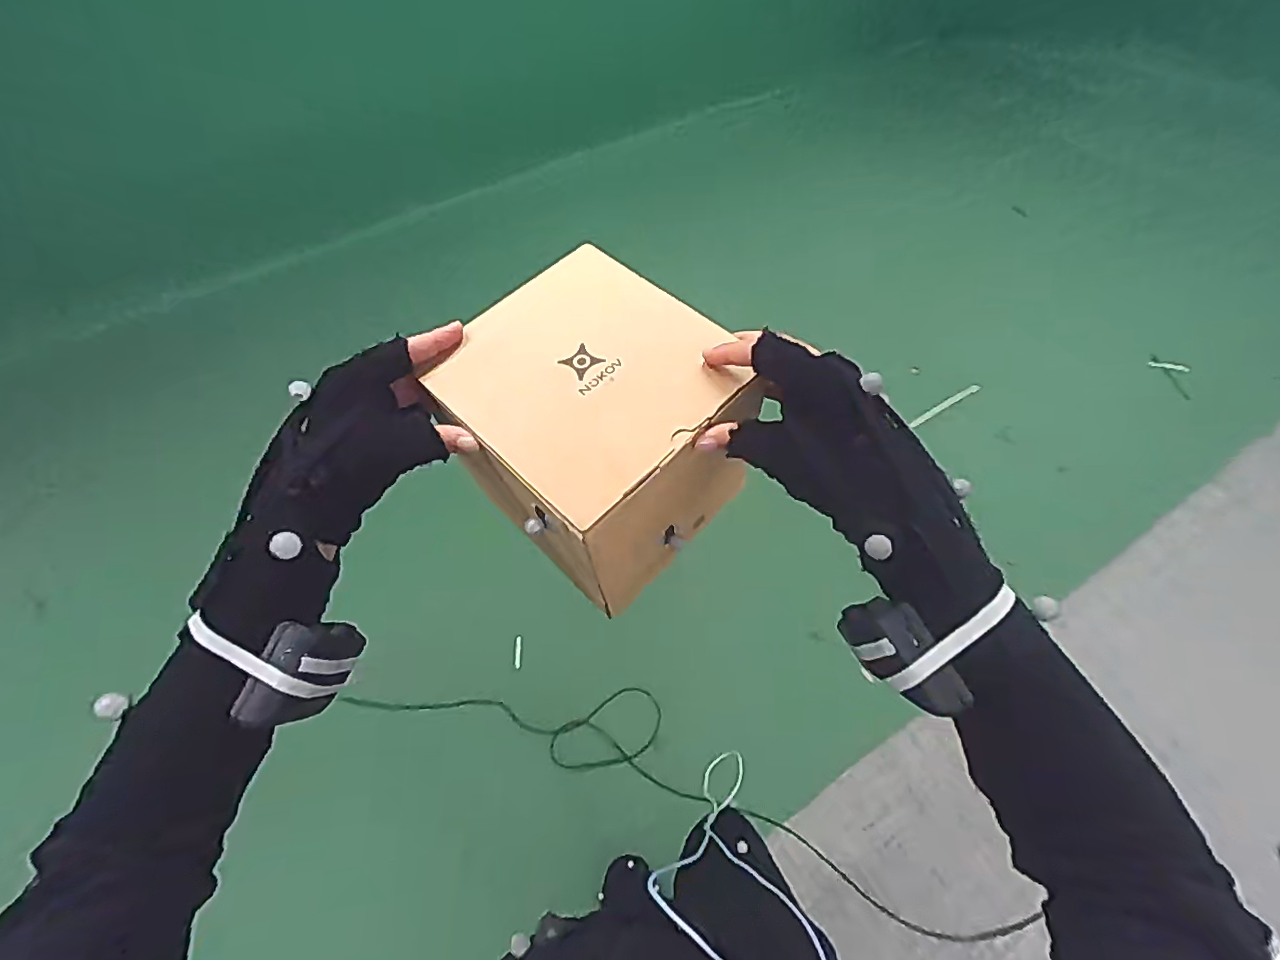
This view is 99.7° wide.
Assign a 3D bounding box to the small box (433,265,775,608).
[{"bbox_3d":[-0.024,-0.027,0.431,0.168,0.176,0.179,-41,66,-19],"label":"small box"}]
